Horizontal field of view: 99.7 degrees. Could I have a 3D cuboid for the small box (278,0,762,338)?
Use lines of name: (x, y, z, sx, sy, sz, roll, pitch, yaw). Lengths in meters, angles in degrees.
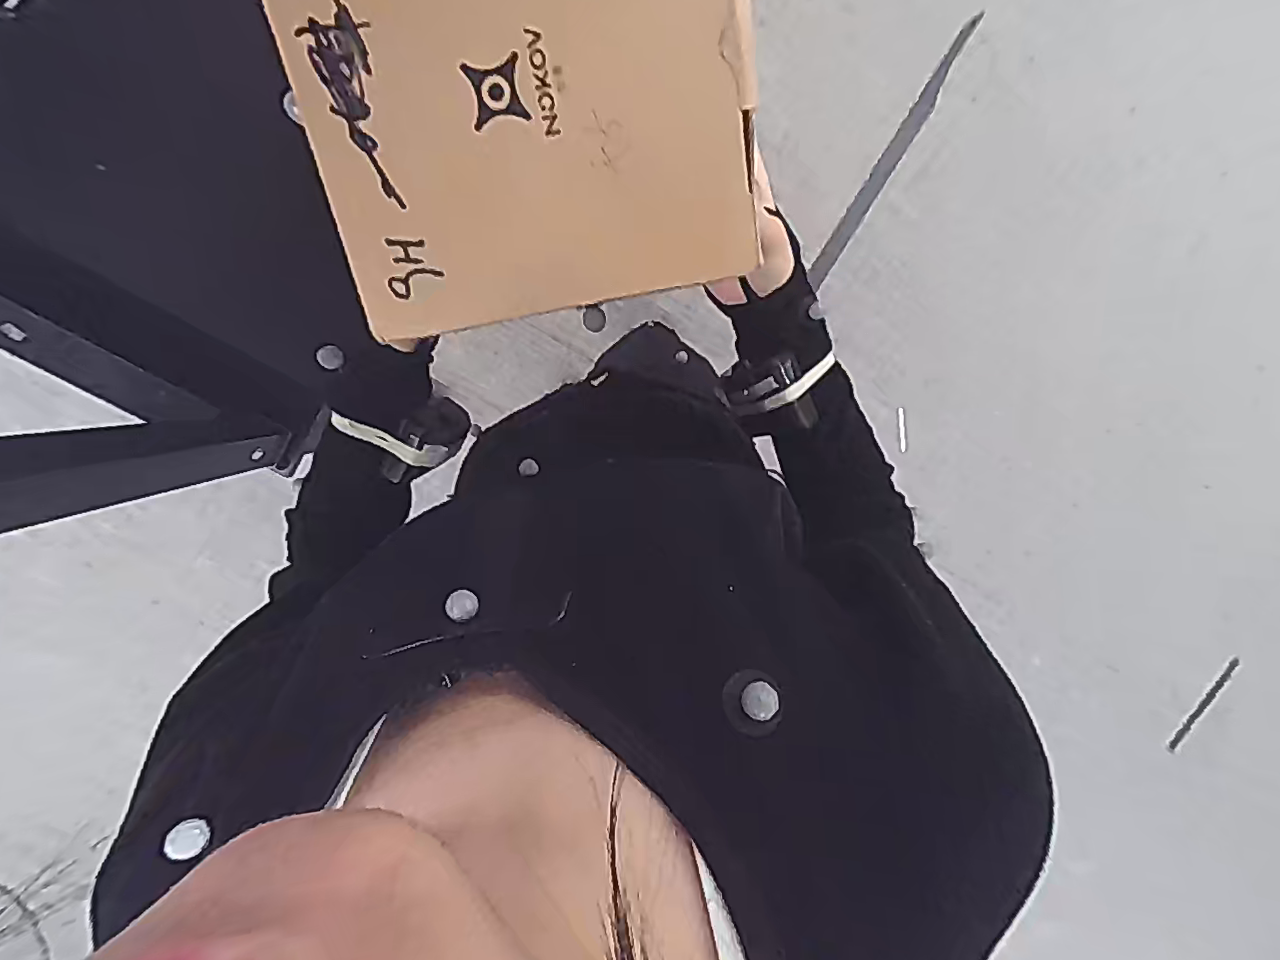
small box: (-0.045, -0.178, 0.290, 0.179, 0.176, 0.168, -9, 108, 3)
